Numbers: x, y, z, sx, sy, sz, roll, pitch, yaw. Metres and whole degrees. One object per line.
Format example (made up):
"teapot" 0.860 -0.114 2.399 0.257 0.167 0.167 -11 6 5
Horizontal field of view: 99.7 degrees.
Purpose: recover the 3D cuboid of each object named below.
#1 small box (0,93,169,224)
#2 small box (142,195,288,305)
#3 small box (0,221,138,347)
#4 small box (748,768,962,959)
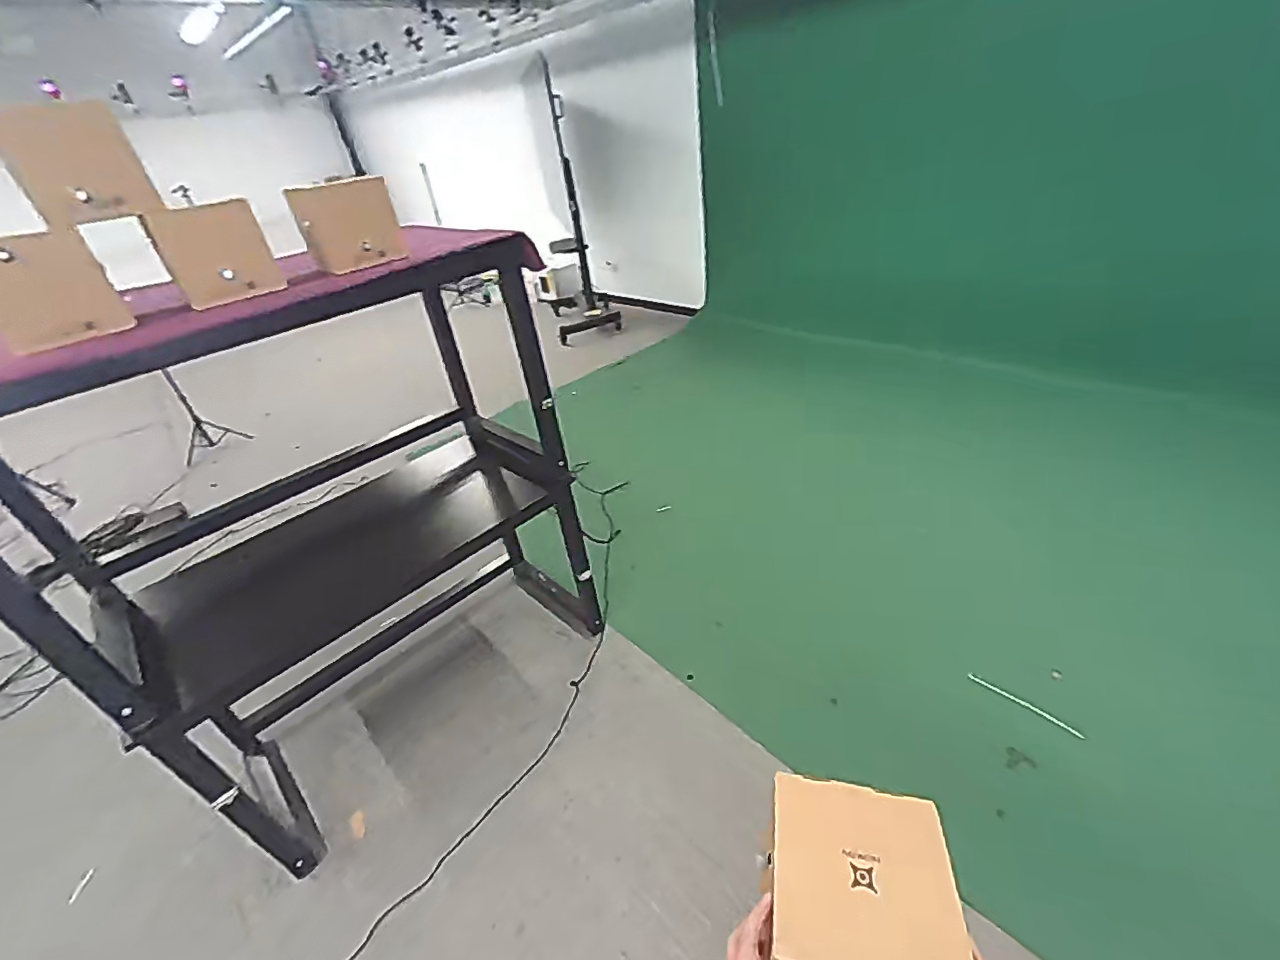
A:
"small box" -0.941 -0.534 0.911 0.168 0.176 0.179 -31 40 -30
"small box" -0.833 -0.452 1.063 0.168 0.176 0.179 -32 40 -32
"small box" -1.011 -0.337 0.925 0.168 0.176 0.179 -33 40 -33
"small box" 0.200 0.435 0.543 0.168 0.176 0.179 5 27 11
